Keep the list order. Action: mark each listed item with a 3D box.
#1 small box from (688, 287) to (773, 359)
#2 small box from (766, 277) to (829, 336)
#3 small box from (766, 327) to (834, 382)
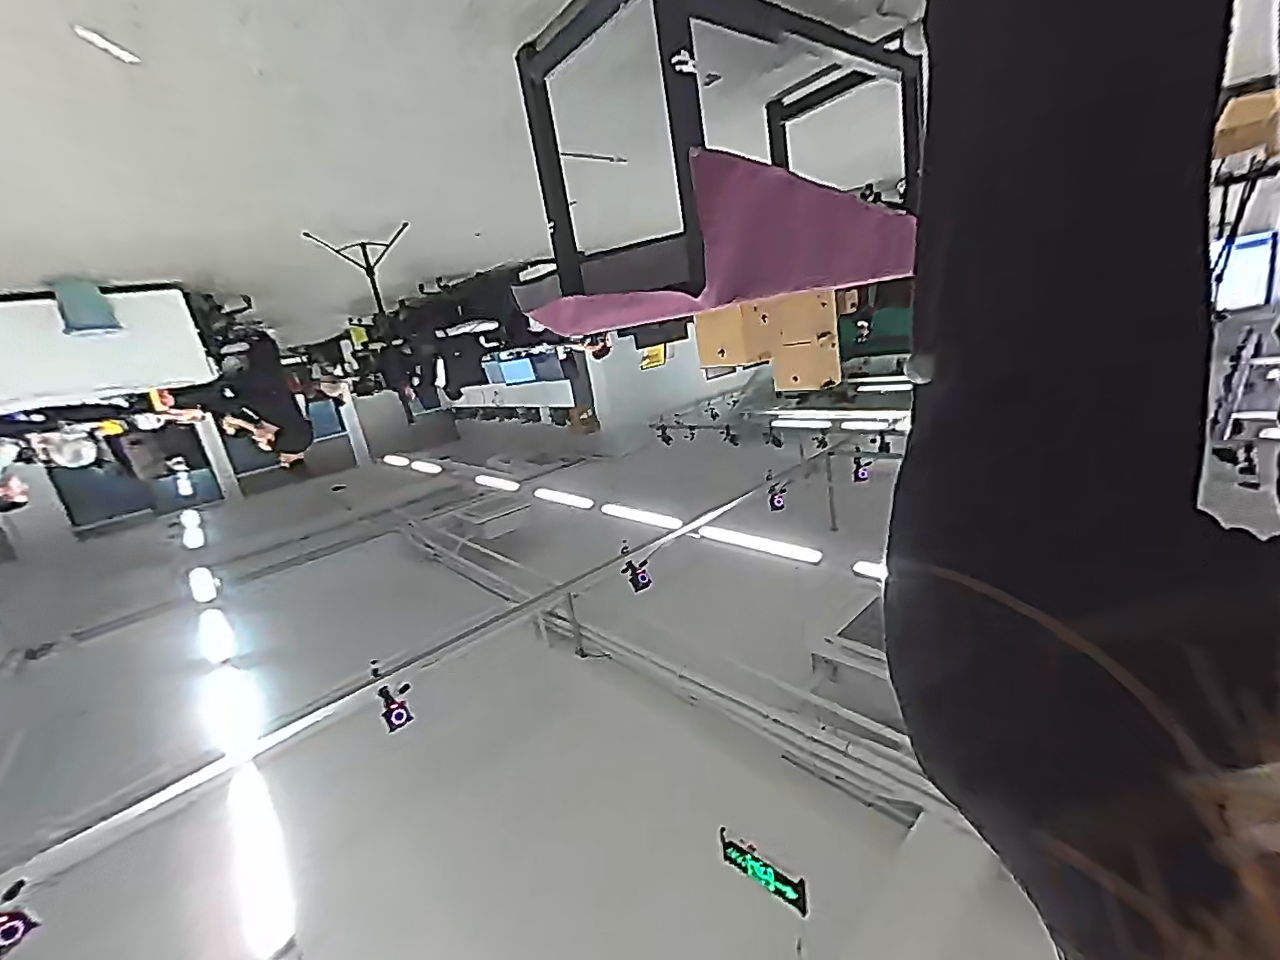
[{"bbox_3d":[0.252,-0.441,1.520,0.168,0.176,0.179,-23,-160,-36],"label":"small box"},{"bbox_3d":[0.542,-0.610,1.903,0.168,0.176,0.179,-24,-159,-37],"label":"small box"},{"bbox_3d":[0.572,-0.456,1.950,0.168,0.176,0.179,-22,-160,-33],"label":"small box"}]
